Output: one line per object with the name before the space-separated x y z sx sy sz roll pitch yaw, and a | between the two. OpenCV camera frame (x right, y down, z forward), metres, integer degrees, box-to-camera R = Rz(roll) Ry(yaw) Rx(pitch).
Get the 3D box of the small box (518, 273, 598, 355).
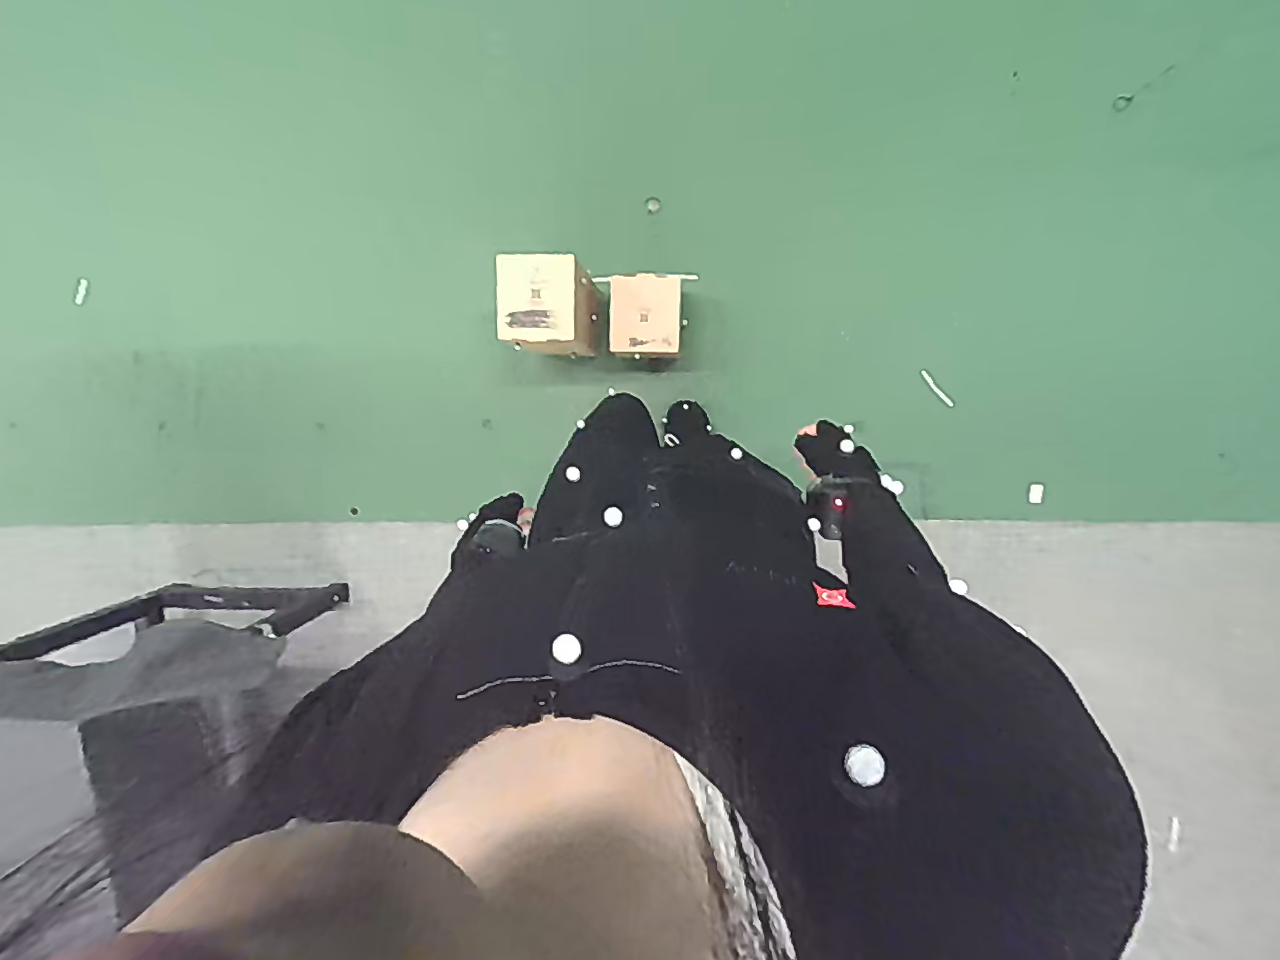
small box | -0.202 -0.412 1.367 0.168 0.176 0.179 4 98 5
